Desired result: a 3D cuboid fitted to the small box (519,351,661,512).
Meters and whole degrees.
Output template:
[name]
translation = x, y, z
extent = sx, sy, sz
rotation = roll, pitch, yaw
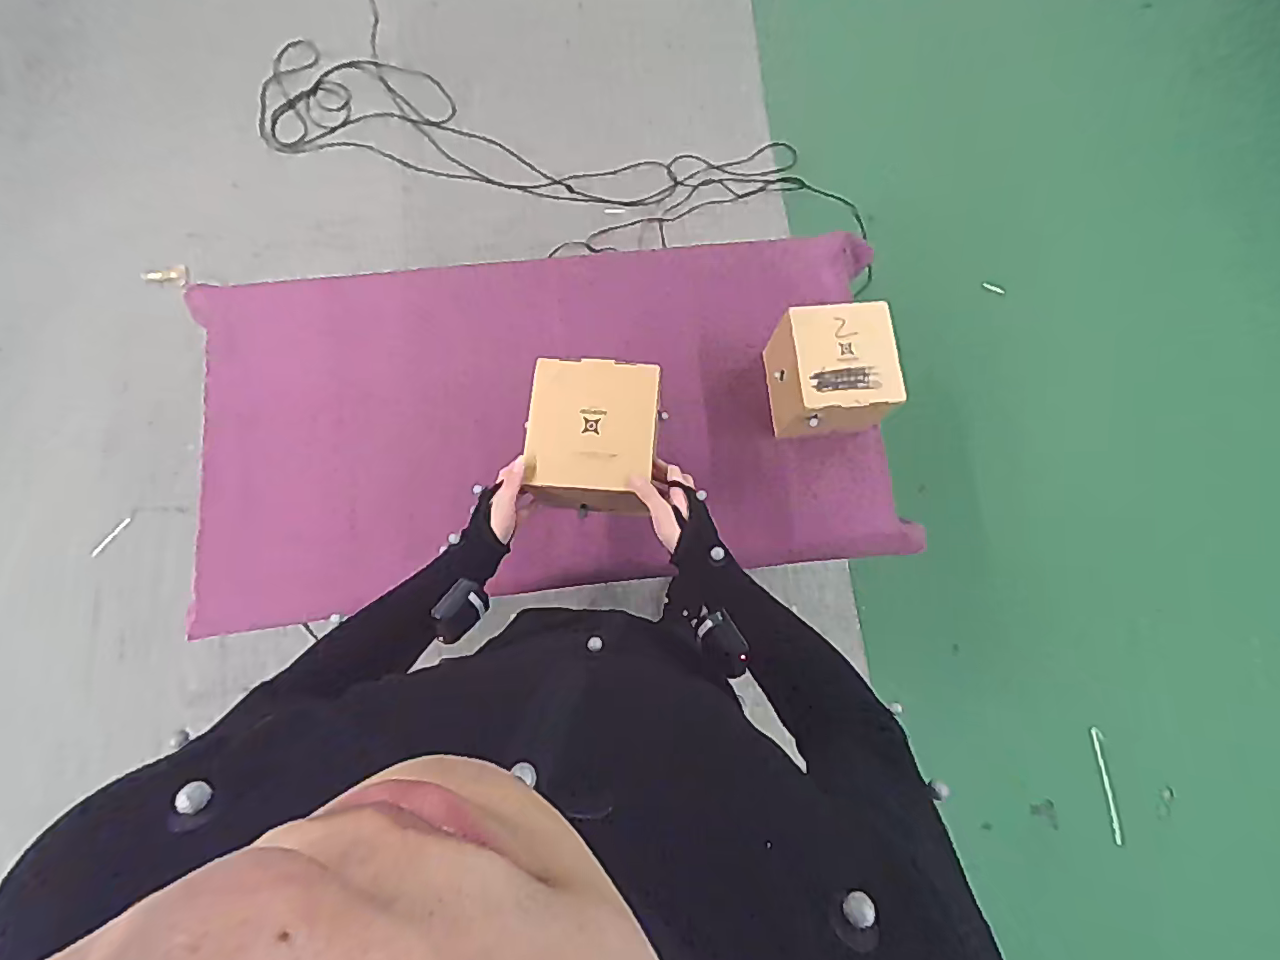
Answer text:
[small box]
translation = -0.061, -0.060, 0.765
extent = 0.168, 0.176, 0.179
rotation = 5, 77, 3
